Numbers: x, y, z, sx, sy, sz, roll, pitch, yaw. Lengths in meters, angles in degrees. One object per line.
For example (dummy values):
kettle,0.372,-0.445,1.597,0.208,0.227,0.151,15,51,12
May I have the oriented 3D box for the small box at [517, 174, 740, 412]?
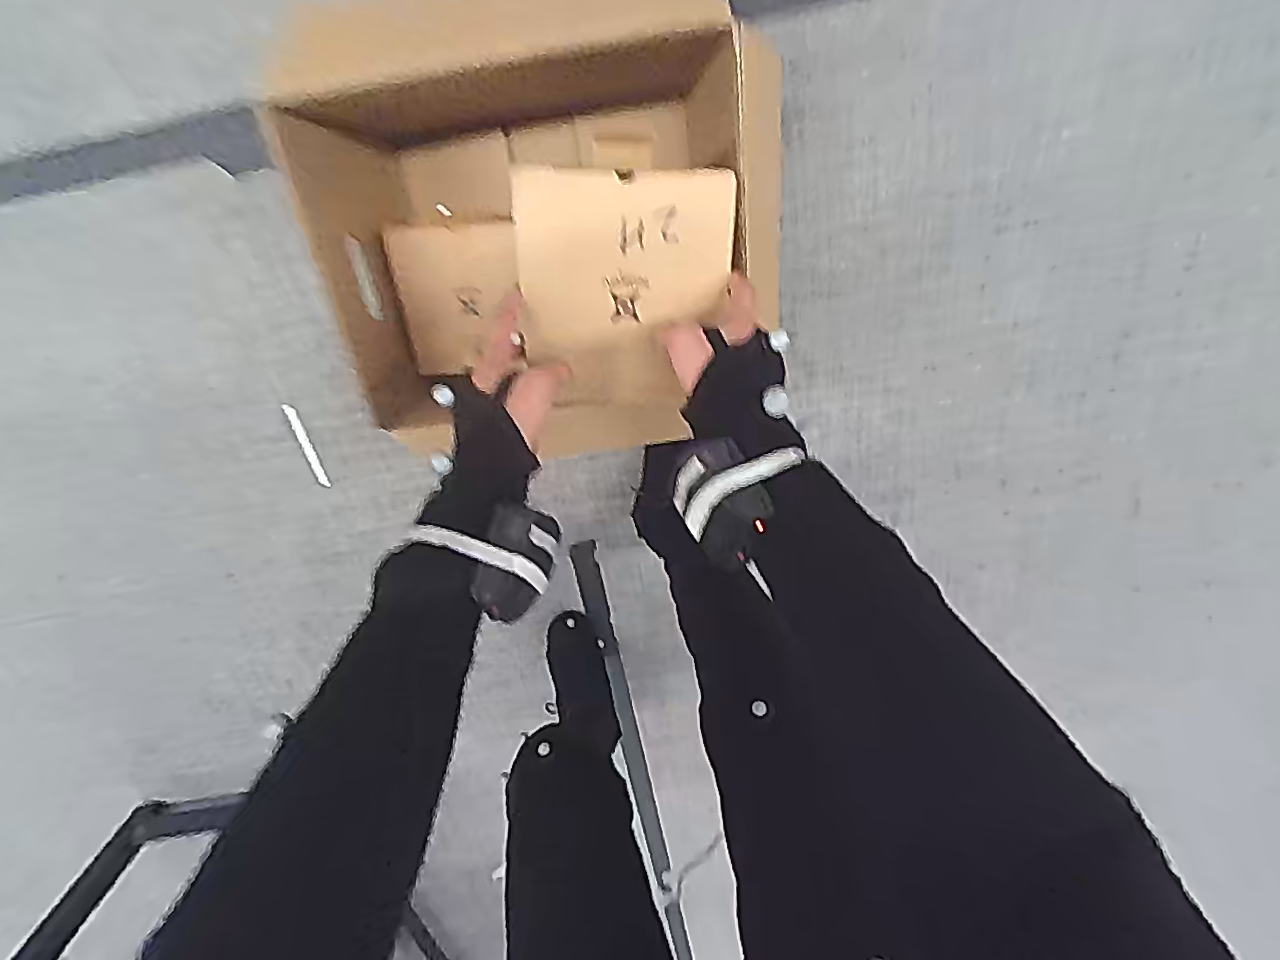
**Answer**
small box,-0.018,-0.170,0.496,0.168,0.176,0.179,-2,114,-7
